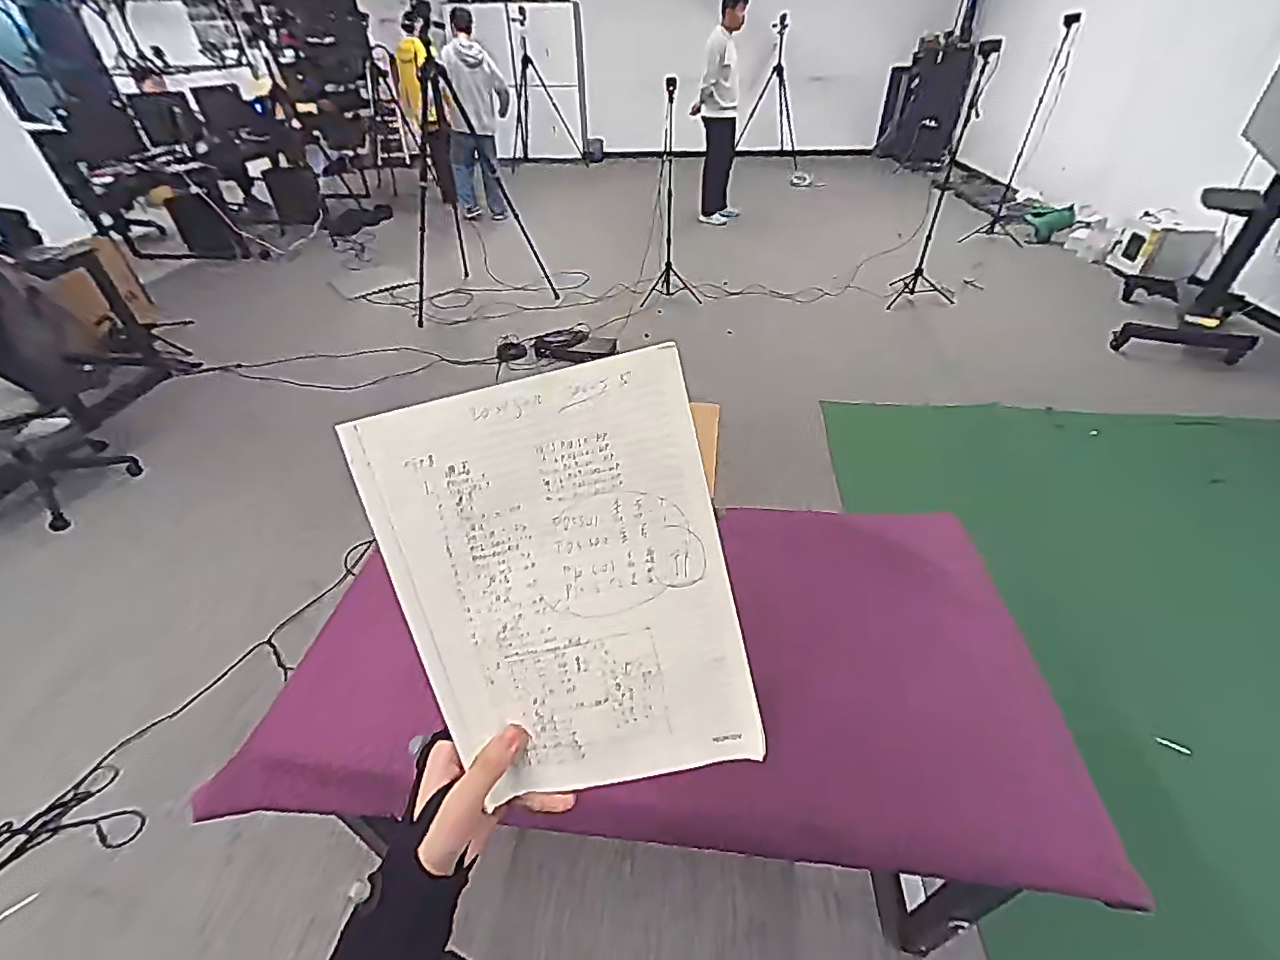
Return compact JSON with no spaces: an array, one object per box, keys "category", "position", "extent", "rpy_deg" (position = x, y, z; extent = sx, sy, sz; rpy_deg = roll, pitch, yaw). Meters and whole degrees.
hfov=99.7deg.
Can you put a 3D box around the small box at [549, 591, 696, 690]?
[{"category":"small box","position":[-0.009,0.152,0.710],"extent":[0.168,0.176,0.179],"rpy_deg":[3,38,6]}]

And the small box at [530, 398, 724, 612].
[{"category":"small box","position":[-0.004,0.027,0.602],"extent":[0.179,0.176,0.168],"rpy_deg":[5,38,8]}]
